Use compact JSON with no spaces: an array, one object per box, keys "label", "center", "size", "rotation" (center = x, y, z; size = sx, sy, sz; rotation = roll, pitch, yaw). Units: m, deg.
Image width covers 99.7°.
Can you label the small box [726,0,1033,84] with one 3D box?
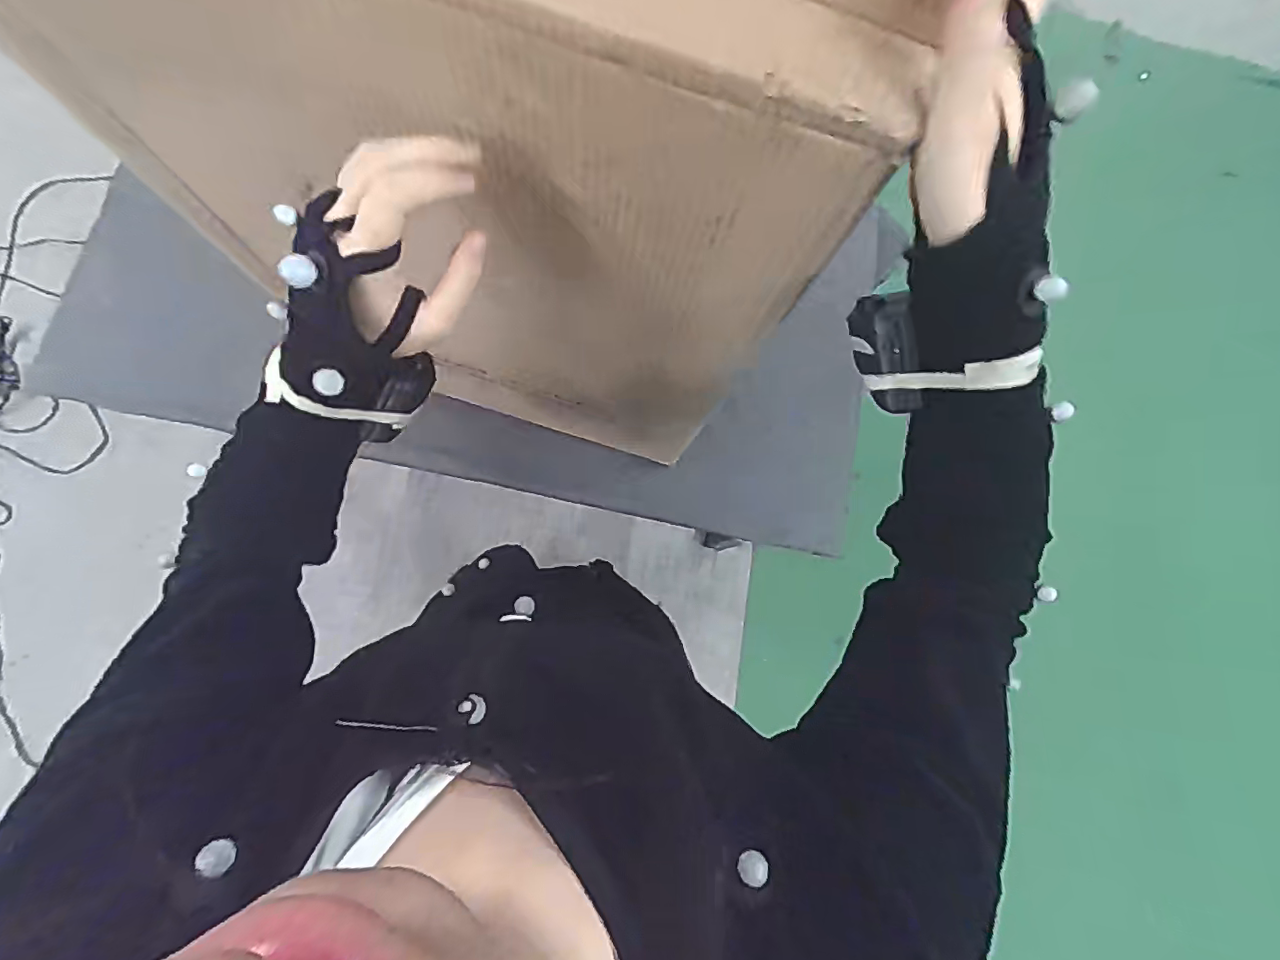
[{"label":"small box","center":[0.094,-0.280,0.160],"size":[0.168,0.176,0.179],"rotation":[16,80,-6]}]
